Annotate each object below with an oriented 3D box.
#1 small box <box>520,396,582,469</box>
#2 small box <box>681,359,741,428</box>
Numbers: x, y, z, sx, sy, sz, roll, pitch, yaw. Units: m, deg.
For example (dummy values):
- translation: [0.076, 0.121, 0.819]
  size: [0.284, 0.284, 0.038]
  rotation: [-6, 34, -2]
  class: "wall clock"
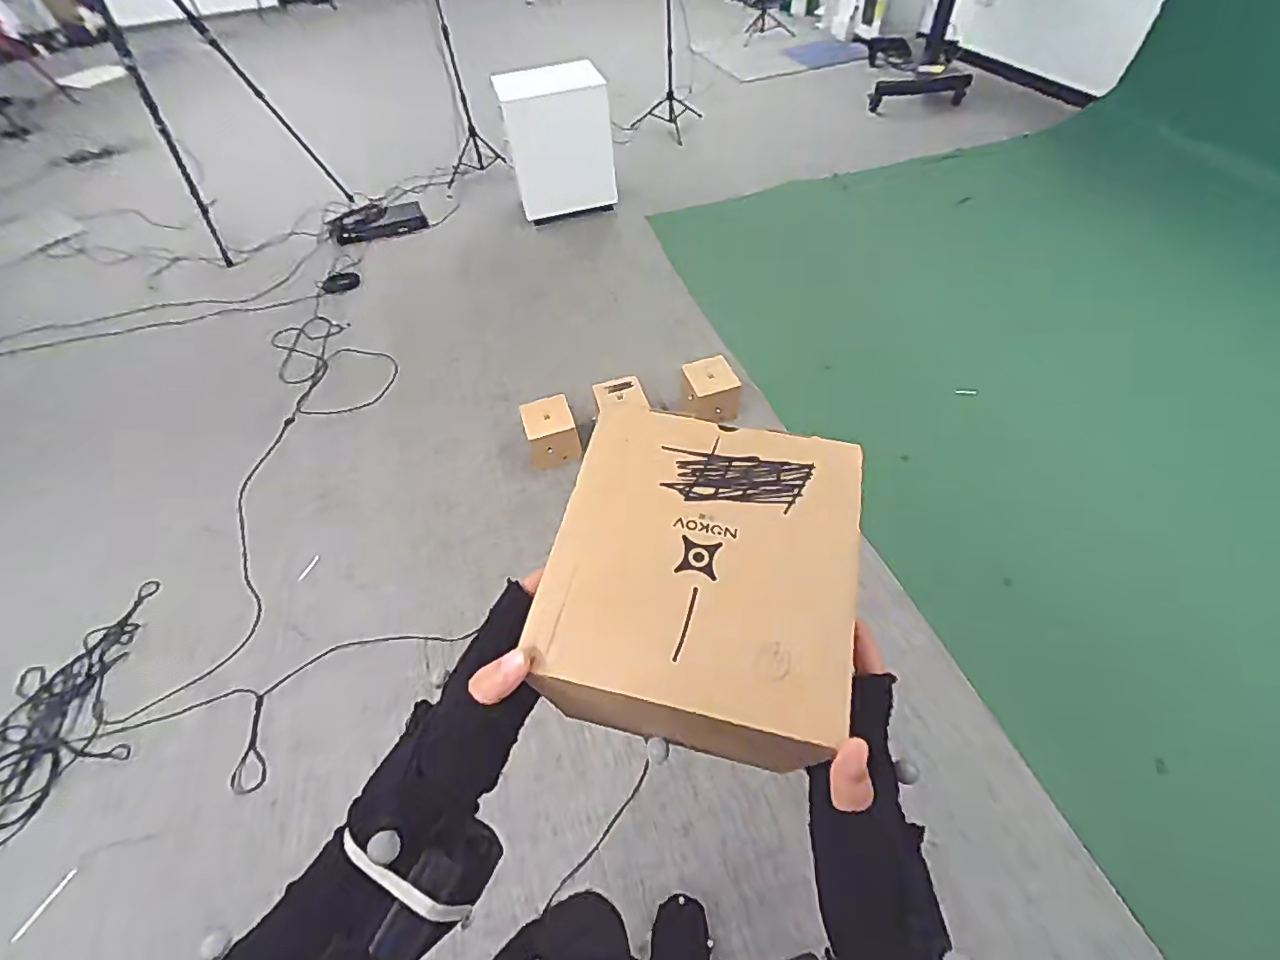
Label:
- translation: [-0.309, -0.158, 1.895]
  size: [0.168, 0.176, 0.179]
  rotation: [-17, 53, -9]
  class: "small box"
- translation: [0.256, -0.309, 1.975]
  size: [0.168, 0.176, 0.179]
  rotation: [-16, 53, -9]
  class: "small box"
